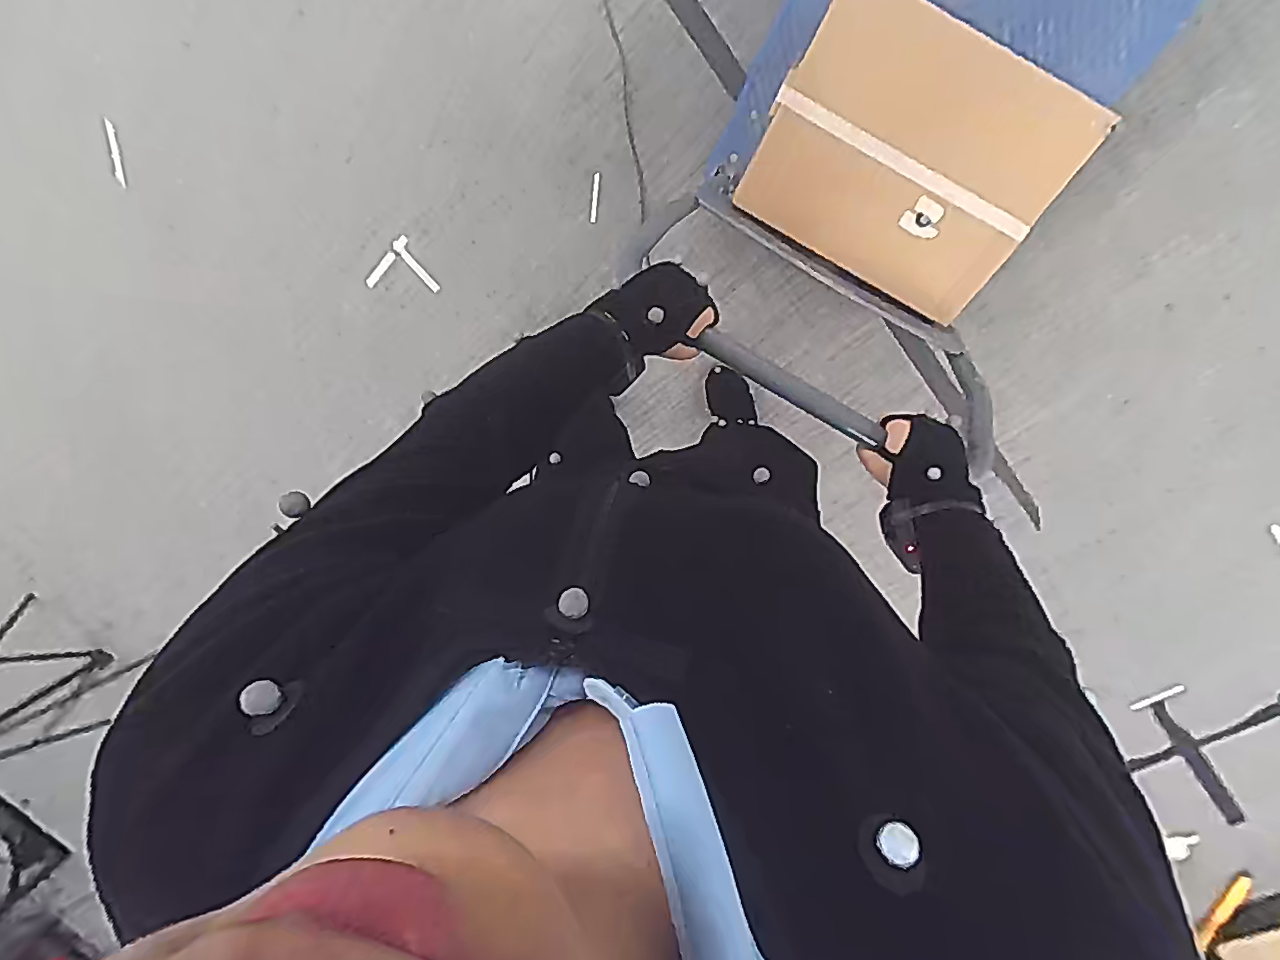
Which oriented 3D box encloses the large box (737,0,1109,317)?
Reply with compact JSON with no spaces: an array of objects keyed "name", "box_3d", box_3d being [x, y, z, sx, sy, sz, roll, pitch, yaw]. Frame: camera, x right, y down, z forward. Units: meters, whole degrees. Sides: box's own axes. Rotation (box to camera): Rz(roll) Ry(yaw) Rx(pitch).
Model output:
[{"name":"large box","box_3d":[0.423,-0.541,0.917,0.408,0.320,0.320,29,125,-2]}]
